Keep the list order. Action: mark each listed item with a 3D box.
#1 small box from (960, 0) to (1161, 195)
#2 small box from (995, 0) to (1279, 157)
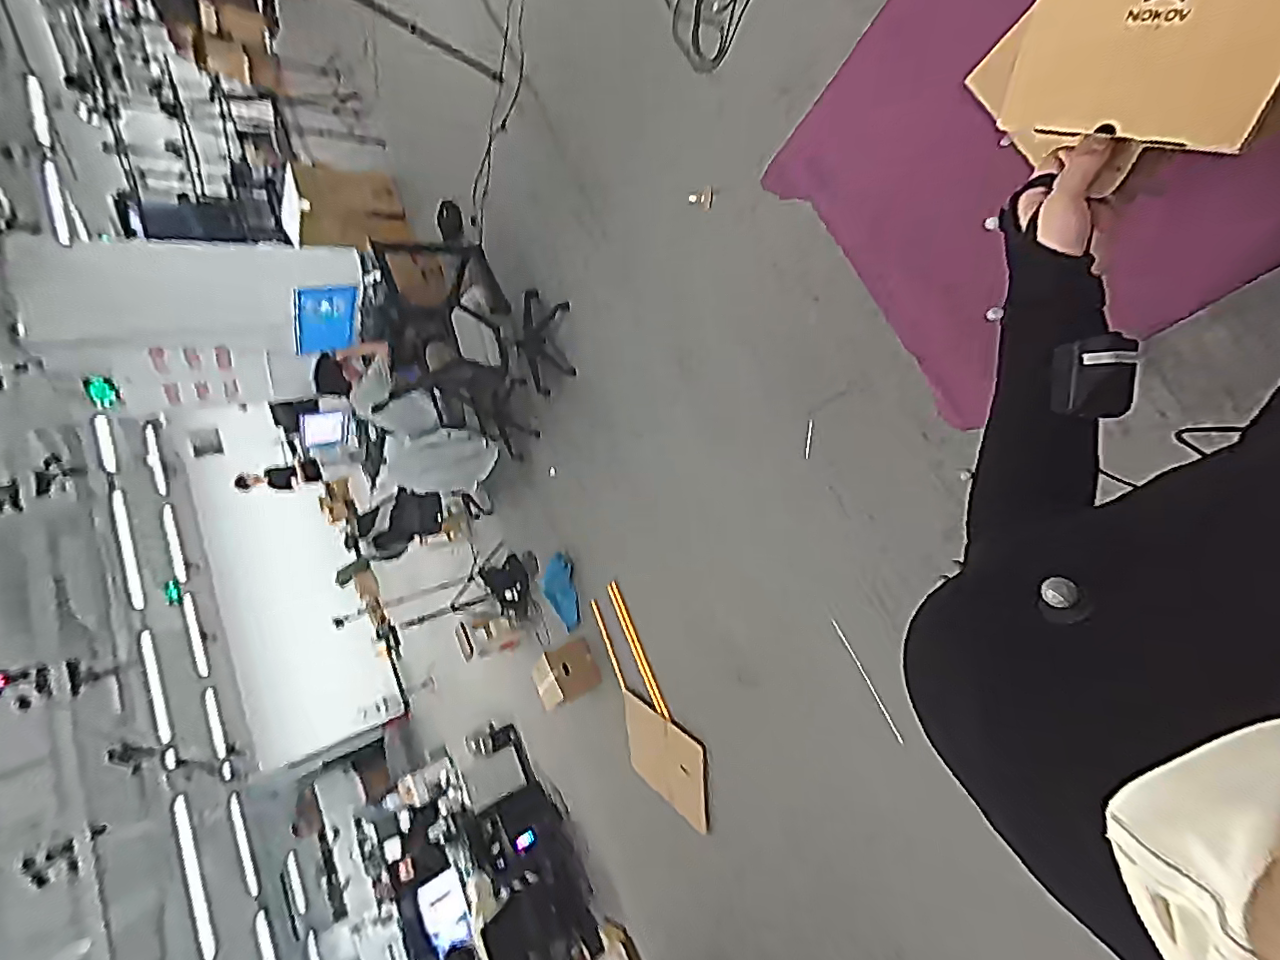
[{"bbox_3d":[0.510,-0.447,0.603,0.168,0.176,0.179,-44,68,51],"label":"small box"},{"bbox_3d":[0.409,-0.359,0.389,0.168,0.176,0.179,40,149,37],"label":"small box"}]
